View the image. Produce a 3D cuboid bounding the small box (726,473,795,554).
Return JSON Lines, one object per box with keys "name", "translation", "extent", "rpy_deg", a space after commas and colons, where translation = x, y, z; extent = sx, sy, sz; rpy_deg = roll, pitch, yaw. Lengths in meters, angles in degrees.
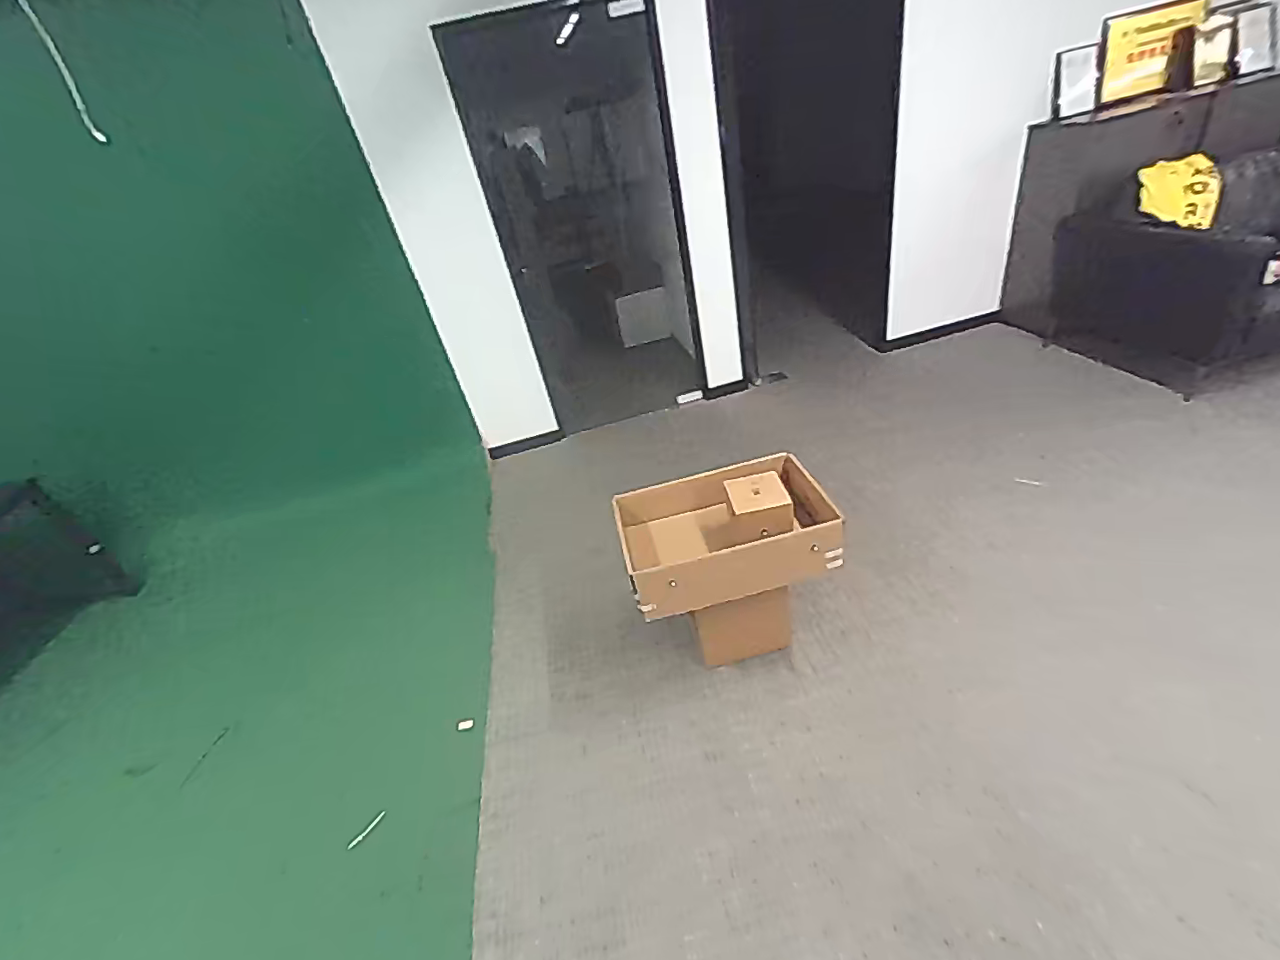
{"name": "small box", "translation": [0.366, 0.107, 1.643], "extent": [0.168, 0.176, 0.179], "rpy_deg": [-12, 33, 2]}
